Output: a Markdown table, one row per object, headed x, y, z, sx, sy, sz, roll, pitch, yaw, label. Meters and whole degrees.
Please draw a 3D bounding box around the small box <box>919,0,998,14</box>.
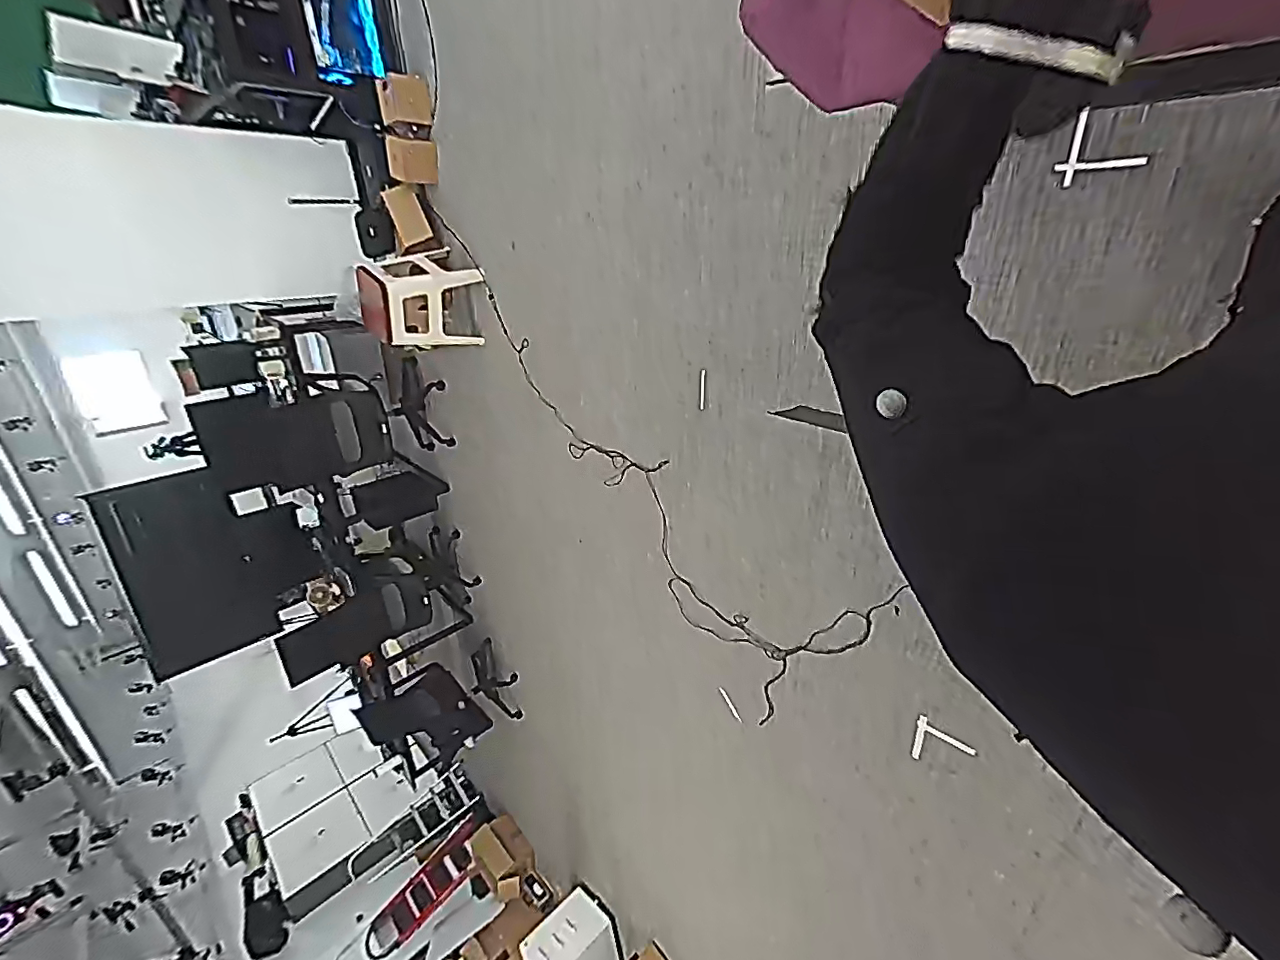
| x | y | z | sx | sy | sz | roll | pitch | yaw | label |
| --- | --- | --- | --- | --- | --- | --- | --- | --- | --- |
| 0.285 | -0.475 | 0.387 | 0.179 | 0.176 | 0.168 | 21 | 122 | 41 | small box |
